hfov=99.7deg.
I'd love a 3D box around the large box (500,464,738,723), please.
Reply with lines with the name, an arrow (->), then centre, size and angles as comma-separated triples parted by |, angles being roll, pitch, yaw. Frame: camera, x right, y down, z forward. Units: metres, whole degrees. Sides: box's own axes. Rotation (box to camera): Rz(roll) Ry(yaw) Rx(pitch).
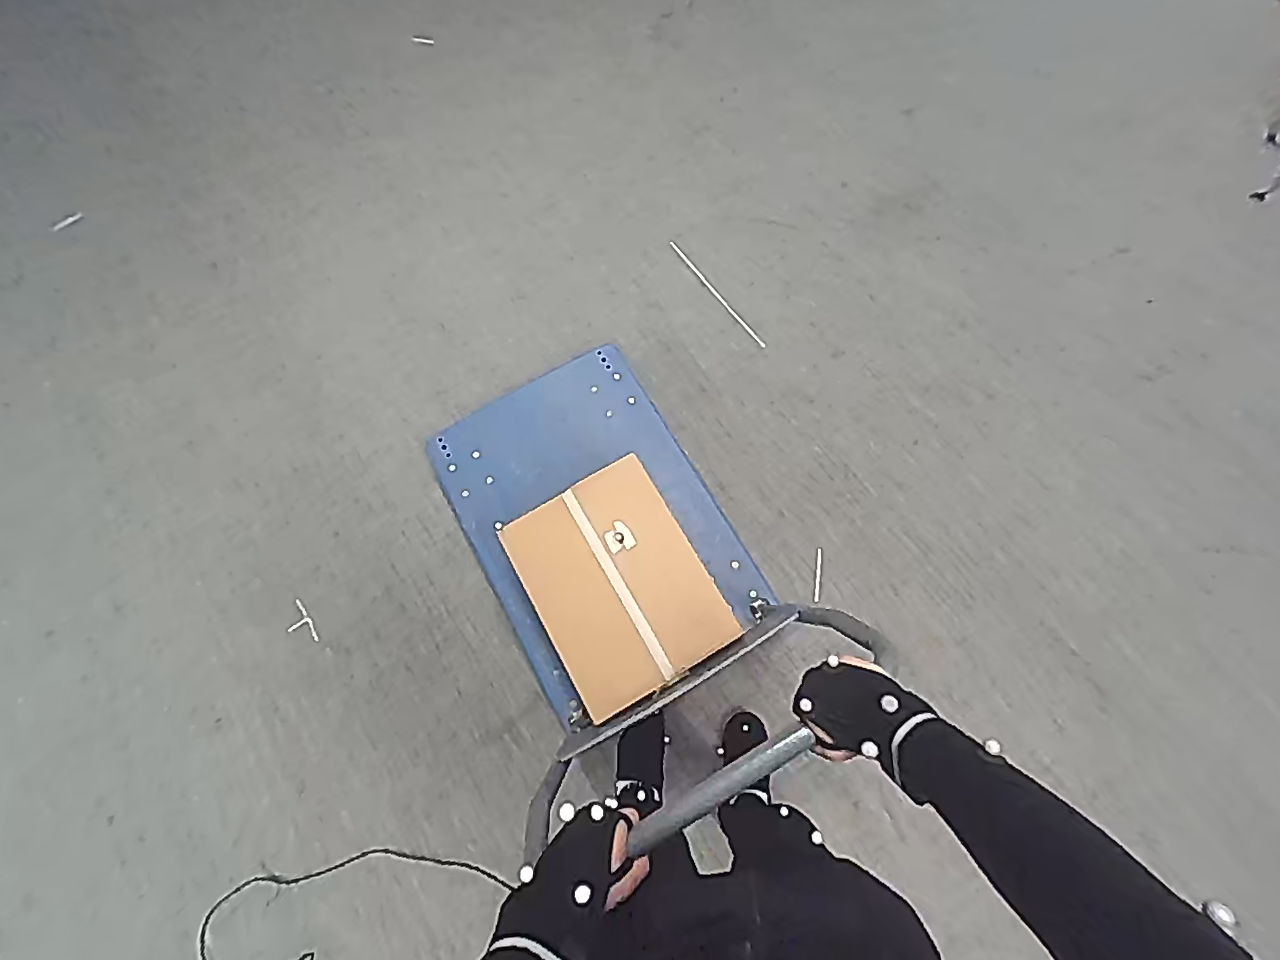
large box -> -0.036, 0.241, 1.175 | 0.320, 0.320, 0.408 | -30, 75, -5
